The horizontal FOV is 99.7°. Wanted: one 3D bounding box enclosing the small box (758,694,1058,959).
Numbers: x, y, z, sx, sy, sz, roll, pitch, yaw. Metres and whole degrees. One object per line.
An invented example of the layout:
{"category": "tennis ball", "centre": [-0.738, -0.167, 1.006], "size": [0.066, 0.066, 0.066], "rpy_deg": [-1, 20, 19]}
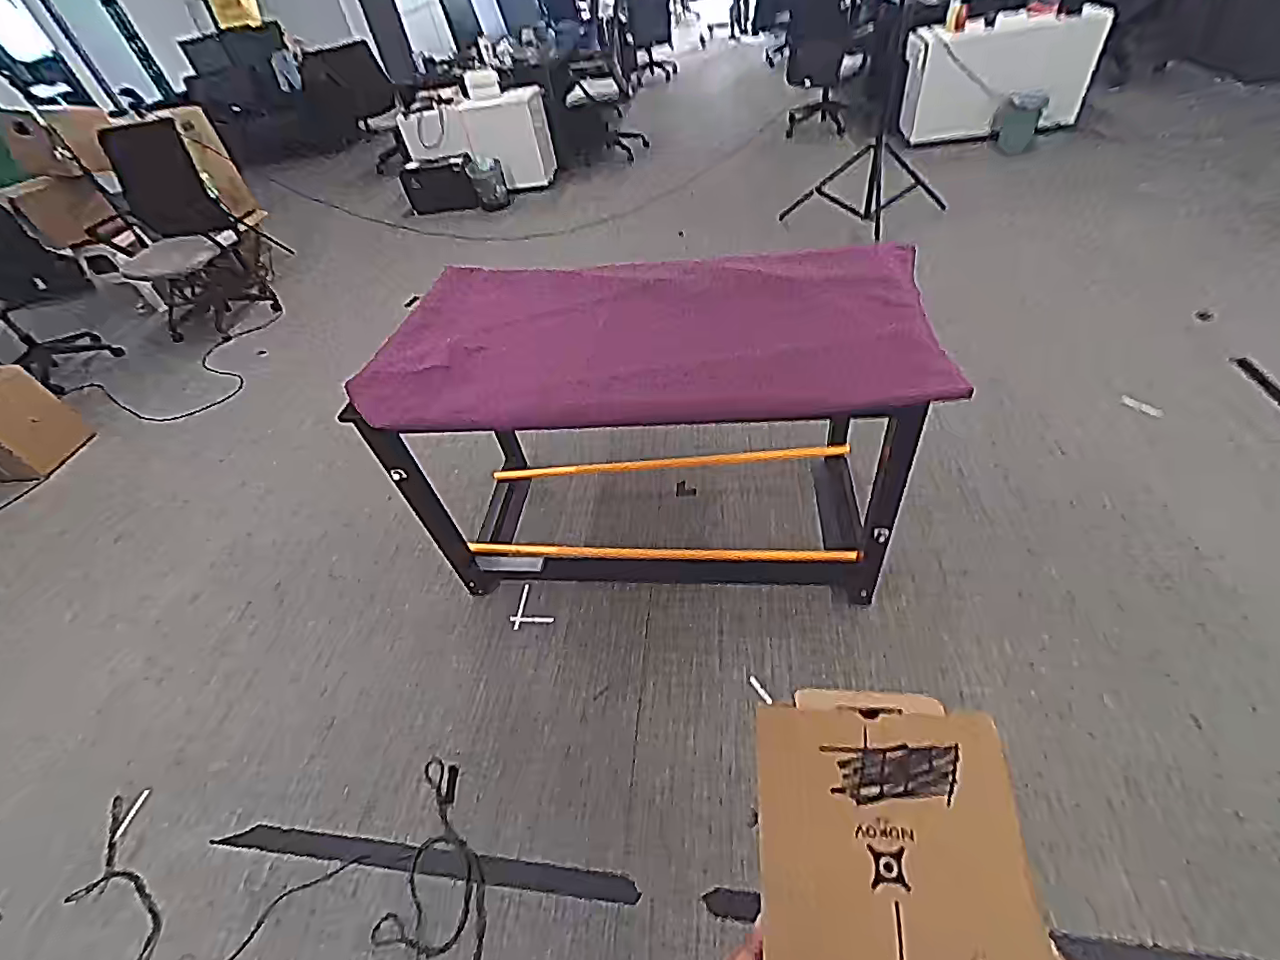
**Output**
{"category": "small box", "centre": [0.177, 0.277, 0.416], "size": [0.168, 0.176, 0.179], "rpy_deg": [-3, 57, 12]}
